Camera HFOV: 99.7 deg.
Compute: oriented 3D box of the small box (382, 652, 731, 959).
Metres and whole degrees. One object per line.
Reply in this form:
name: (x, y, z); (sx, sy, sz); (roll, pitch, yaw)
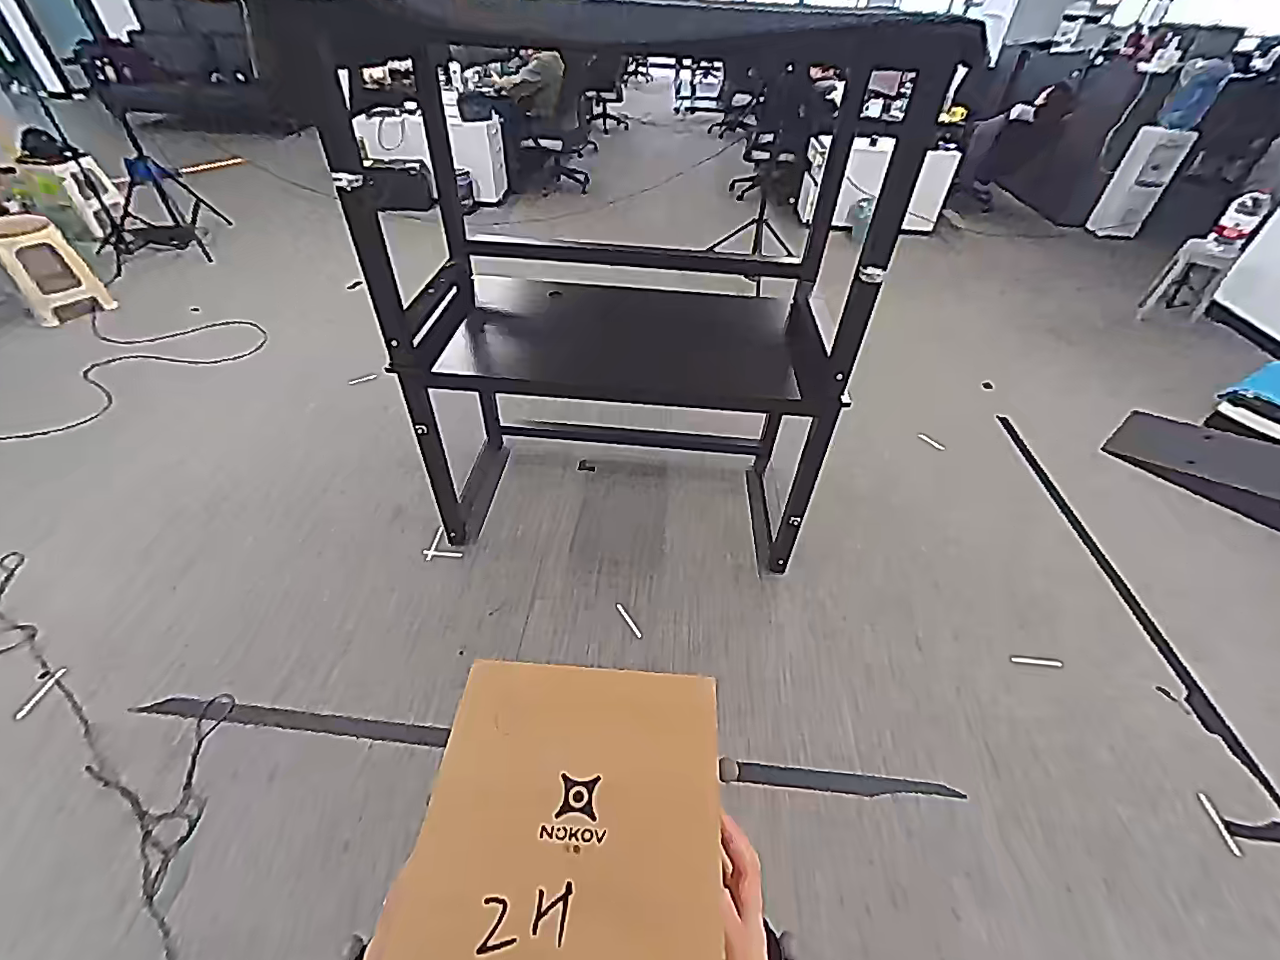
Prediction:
small box: (-0.036, 0.239, 0.355); (0.168, 0.176, 0.179); (3, 44, 2)
